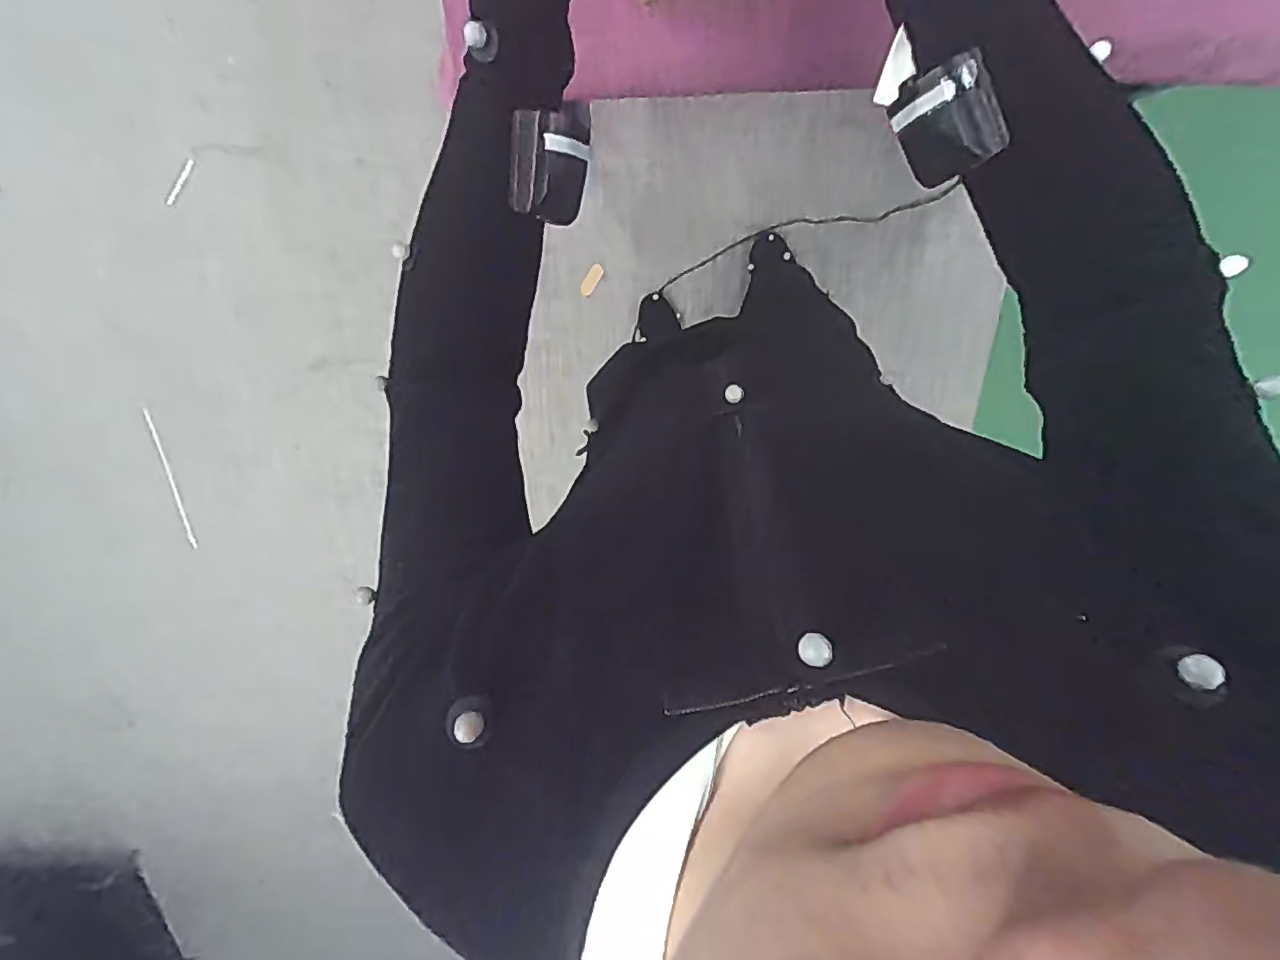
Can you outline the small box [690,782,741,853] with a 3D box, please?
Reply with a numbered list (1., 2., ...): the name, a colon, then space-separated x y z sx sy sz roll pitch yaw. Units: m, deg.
1. small box: 0.287 1.307 2.100 0.179 0.176 0.168 2 112 1
